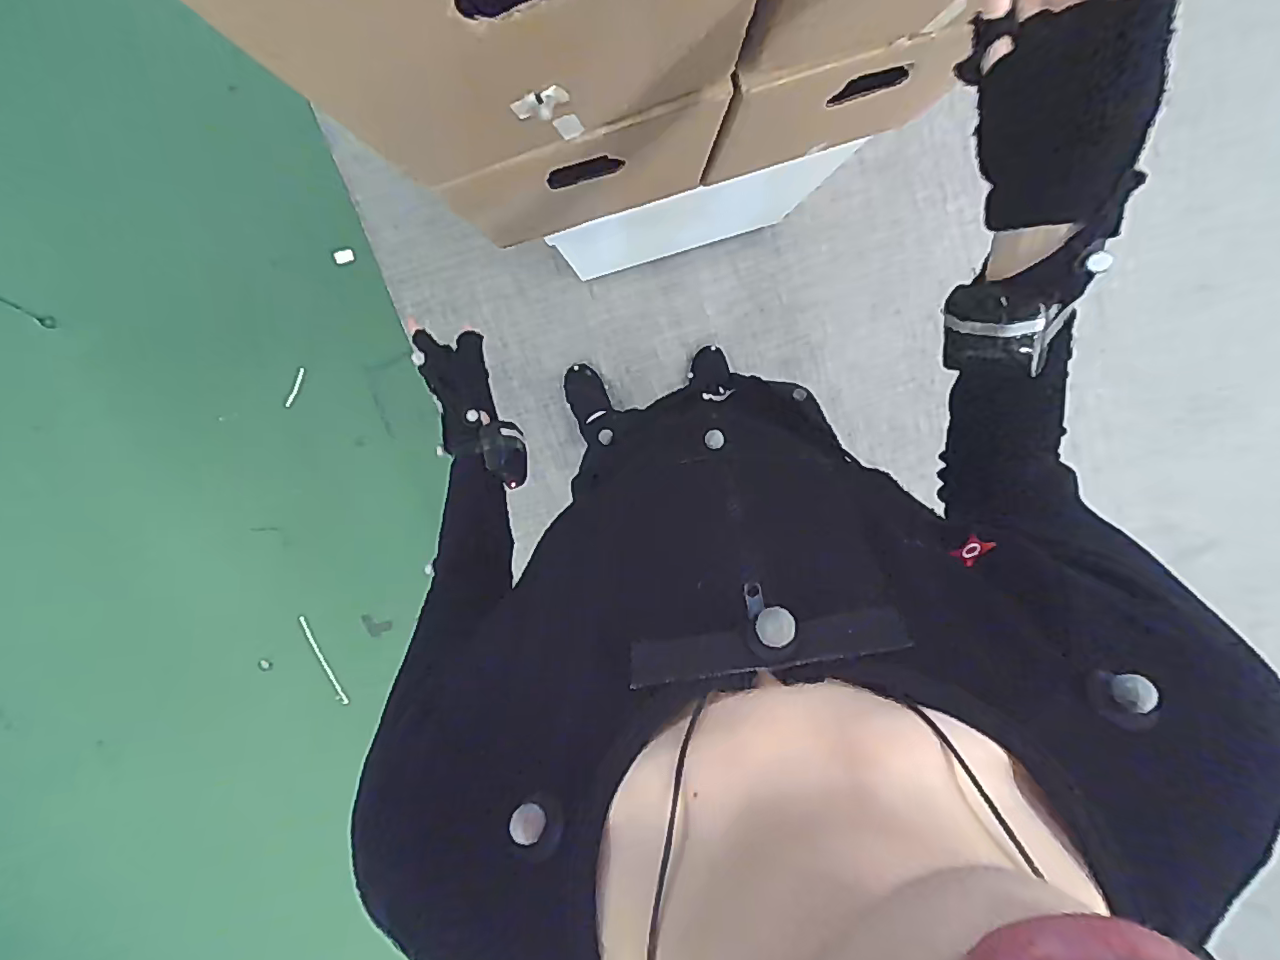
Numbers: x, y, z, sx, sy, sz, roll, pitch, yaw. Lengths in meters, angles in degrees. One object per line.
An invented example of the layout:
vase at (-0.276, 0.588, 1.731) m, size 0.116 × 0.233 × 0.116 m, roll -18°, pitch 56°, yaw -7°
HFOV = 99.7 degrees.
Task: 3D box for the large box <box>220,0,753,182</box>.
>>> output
large box at (-0.121, -0.477, 0.318) m, size 0.320 × 0.320 × 0.408 m, roll -18°, pitch 101°, yaw 4°
